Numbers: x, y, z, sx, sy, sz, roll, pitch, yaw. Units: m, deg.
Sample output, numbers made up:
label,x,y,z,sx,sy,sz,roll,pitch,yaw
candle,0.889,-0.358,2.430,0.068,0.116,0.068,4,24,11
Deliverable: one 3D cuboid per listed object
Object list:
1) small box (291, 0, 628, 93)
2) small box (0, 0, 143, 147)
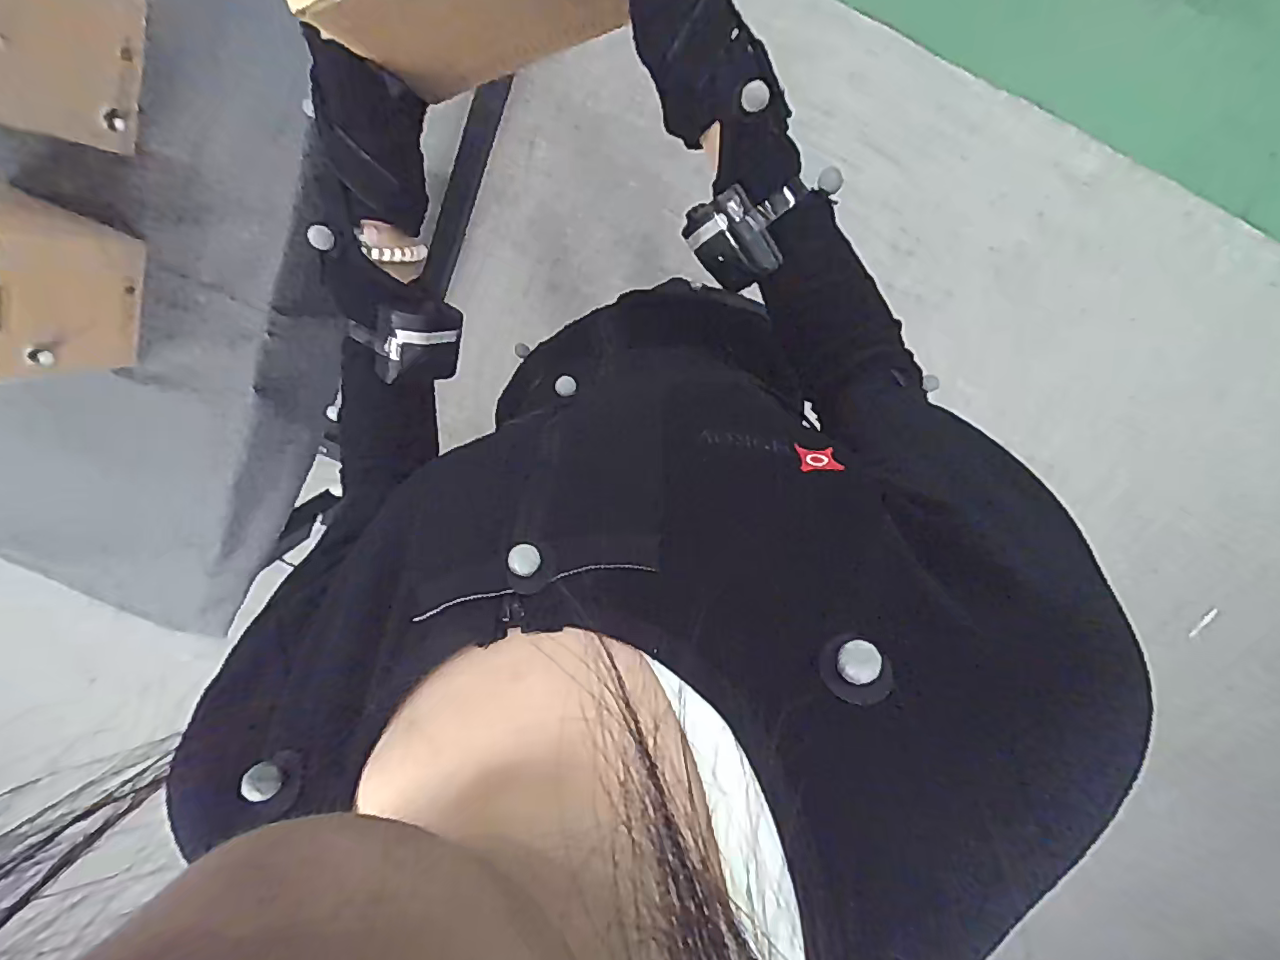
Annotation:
label,x,y,z,sx,sy,sz,roll,pitch,yaw
small box,-0.110,-0.357,0.303,0.179,0.176,0.168,-16,110,8
small box,-0.651,-0.460,0.534,0.179,0.176,0.168,22,108,-4
